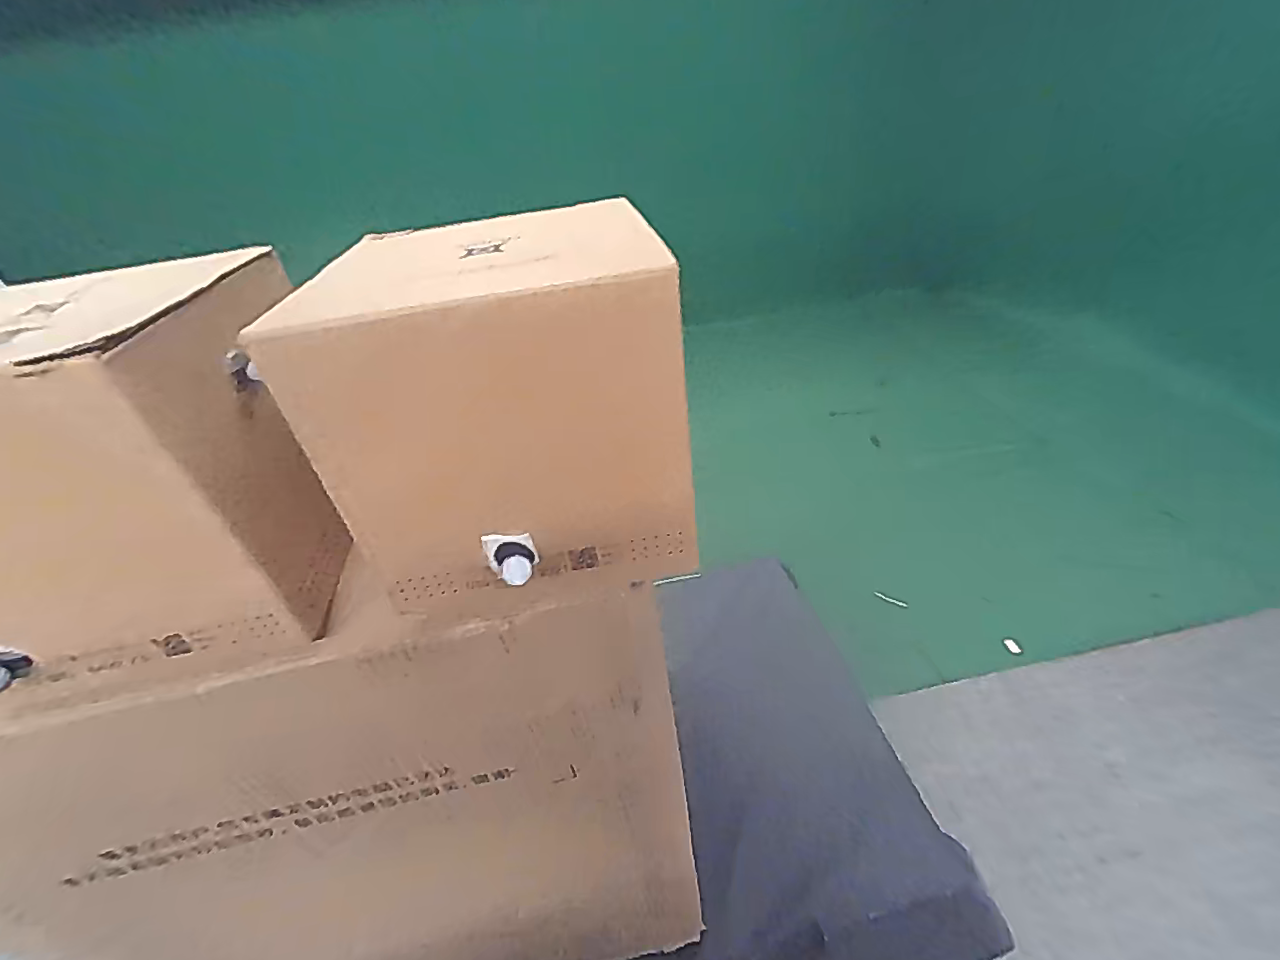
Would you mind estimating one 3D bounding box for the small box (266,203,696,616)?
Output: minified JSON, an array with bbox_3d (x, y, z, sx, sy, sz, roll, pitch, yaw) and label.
[{"bbox_3d":[-0.066,-0.049,0.322,0.168,0.176,0.179,-11,37,-3],"label":"small box"}]
